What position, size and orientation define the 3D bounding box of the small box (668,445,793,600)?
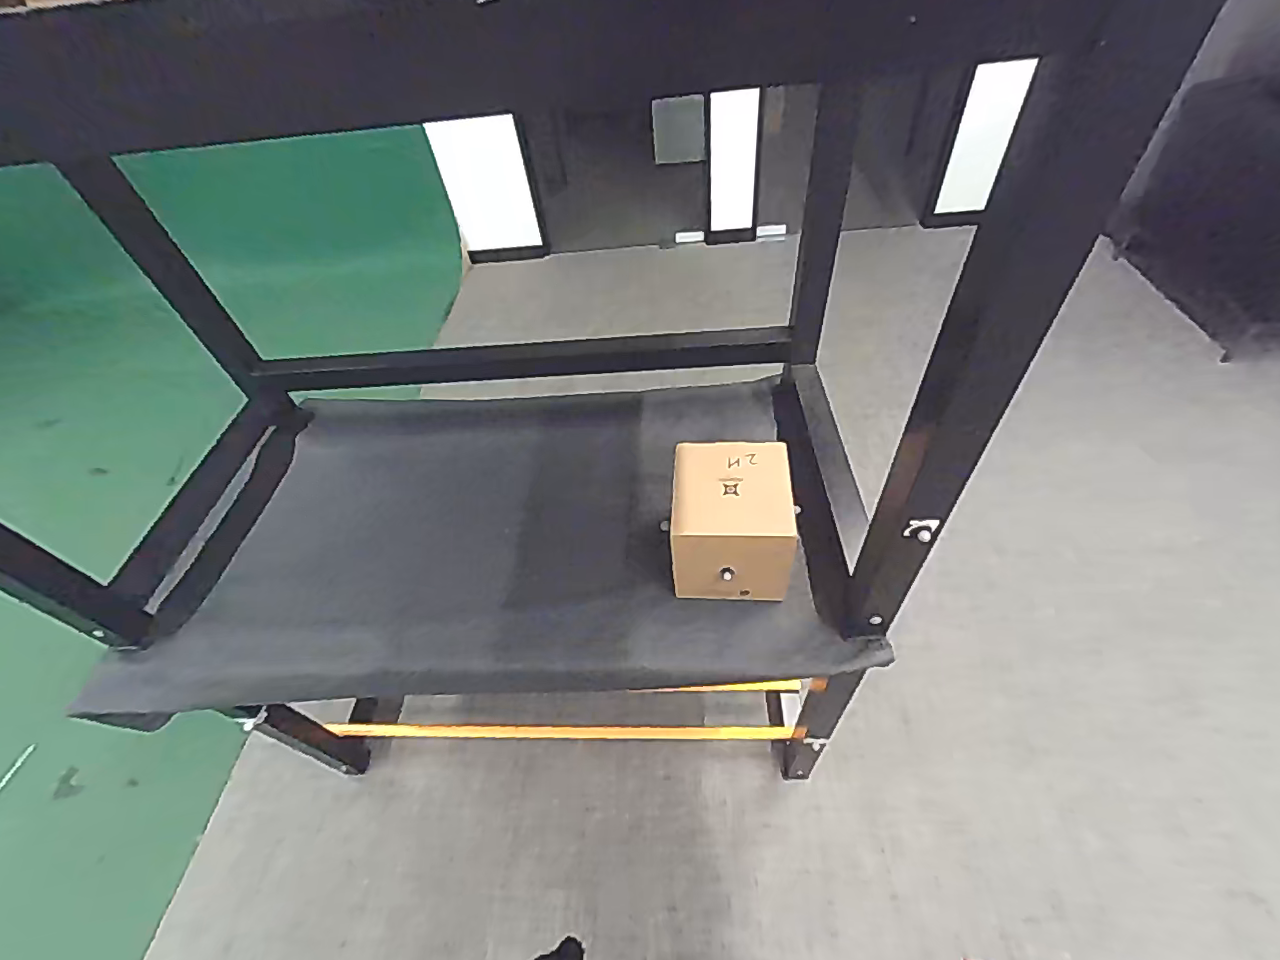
[{"bbox_3d":[0.135,0.066,0.820,0.168,0.176,0.179,1,48,8],"label":"small box"}]
